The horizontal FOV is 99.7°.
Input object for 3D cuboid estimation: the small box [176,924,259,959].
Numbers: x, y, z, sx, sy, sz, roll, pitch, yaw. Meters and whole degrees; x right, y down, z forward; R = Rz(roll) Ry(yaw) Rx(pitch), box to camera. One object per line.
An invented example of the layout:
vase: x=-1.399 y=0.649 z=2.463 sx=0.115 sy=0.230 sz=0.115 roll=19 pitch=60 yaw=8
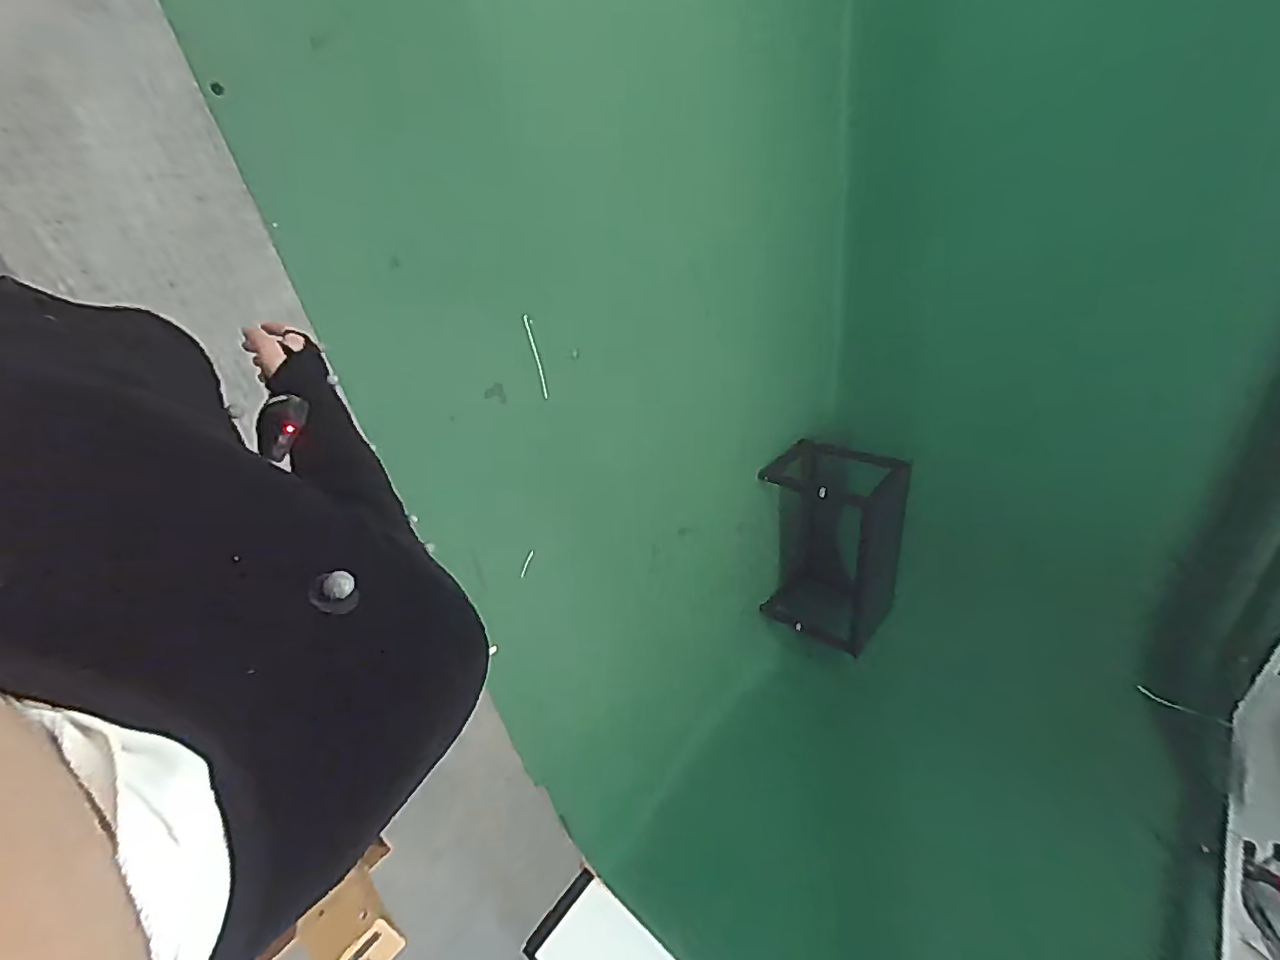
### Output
small box: x=-1.108 y=1.323 z=1.410 sx=0.168 sy=0.176 sz=0.179 roll=-31 pitch=126 yaw=-38

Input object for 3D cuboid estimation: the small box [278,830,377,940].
small box: x=-0.912 y=1.174 z=1.581 sx=0.168 sy=0.176 sz=0.179 roll=-38 pitch=132 yaw=-35
